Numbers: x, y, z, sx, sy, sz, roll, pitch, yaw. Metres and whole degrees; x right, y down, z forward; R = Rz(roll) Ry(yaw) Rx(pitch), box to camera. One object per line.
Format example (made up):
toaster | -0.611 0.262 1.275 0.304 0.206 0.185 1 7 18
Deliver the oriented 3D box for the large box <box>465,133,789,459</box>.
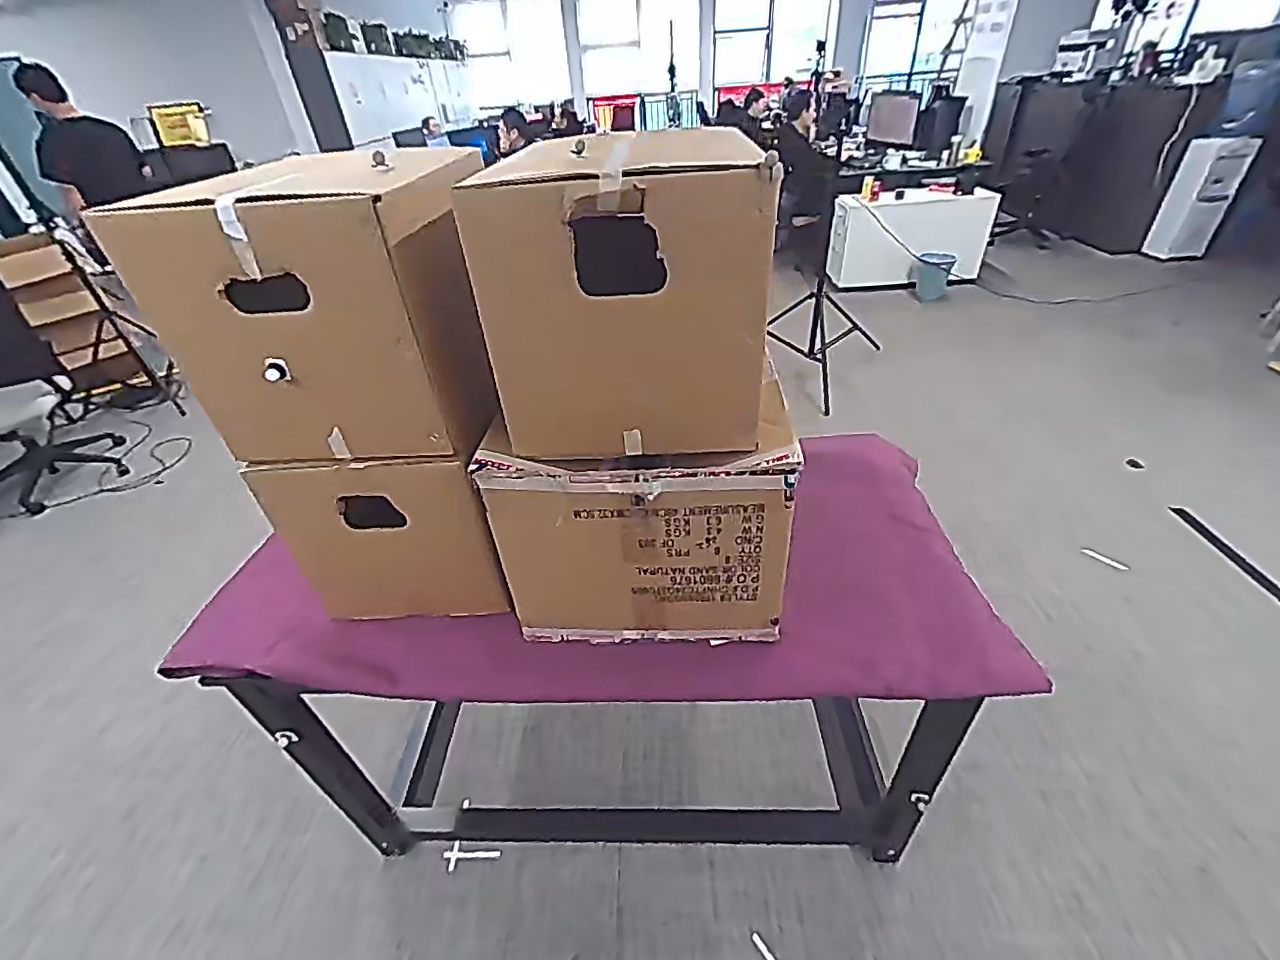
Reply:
large box | -0.004 -0.271 0.747 0.320 0.320 0.408 -3 37 4
